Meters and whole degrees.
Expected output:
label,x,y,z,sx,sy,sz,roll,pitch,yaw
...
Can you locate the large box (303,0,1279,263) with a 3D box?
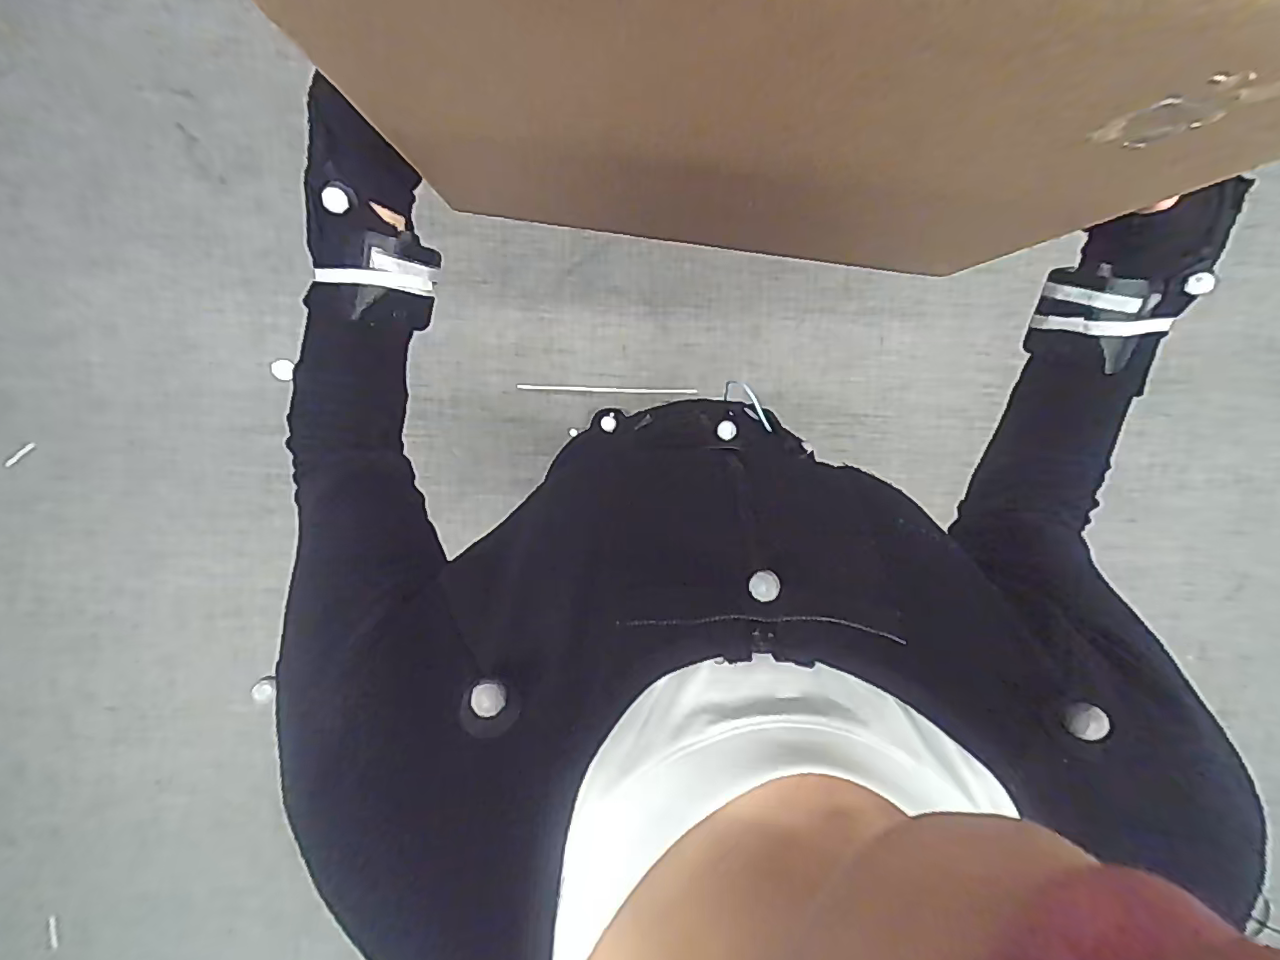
label,x,y,z,sx,sy,sz,roll,pitch,yaw
large box,0.076,-0.320,0.260,0.408,0.320,0.320,7,100,-4
